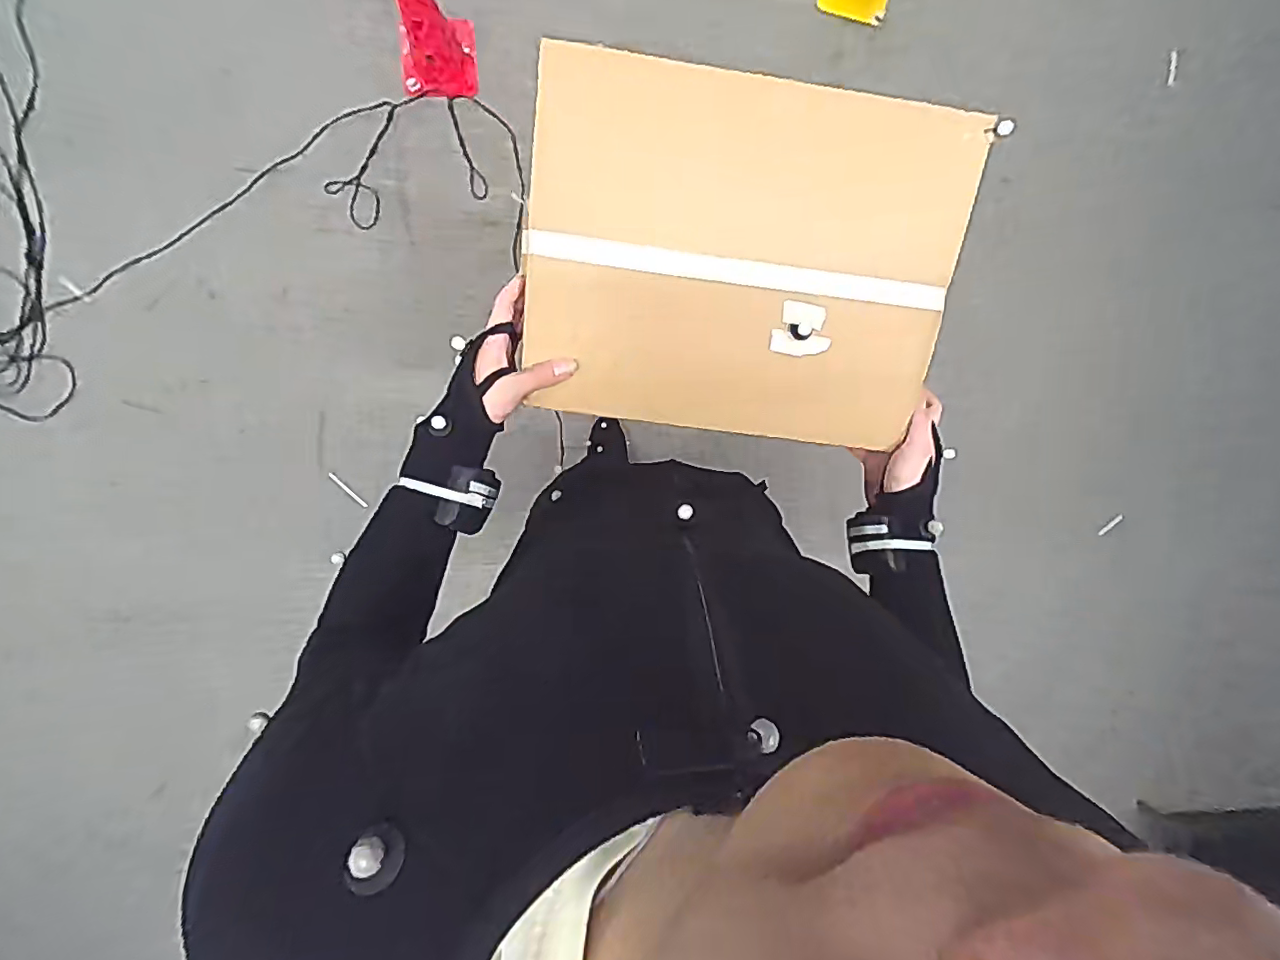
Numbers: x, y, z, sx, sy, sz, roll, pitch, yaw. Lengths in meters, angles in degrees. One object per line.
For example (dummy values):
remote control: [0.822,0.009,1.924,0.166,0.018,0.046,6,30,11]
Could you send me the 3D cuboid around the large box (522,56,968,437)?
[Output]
large box: [0.081,-0.250,0.663,0.408,0.320,0.320,5,109,-4]
